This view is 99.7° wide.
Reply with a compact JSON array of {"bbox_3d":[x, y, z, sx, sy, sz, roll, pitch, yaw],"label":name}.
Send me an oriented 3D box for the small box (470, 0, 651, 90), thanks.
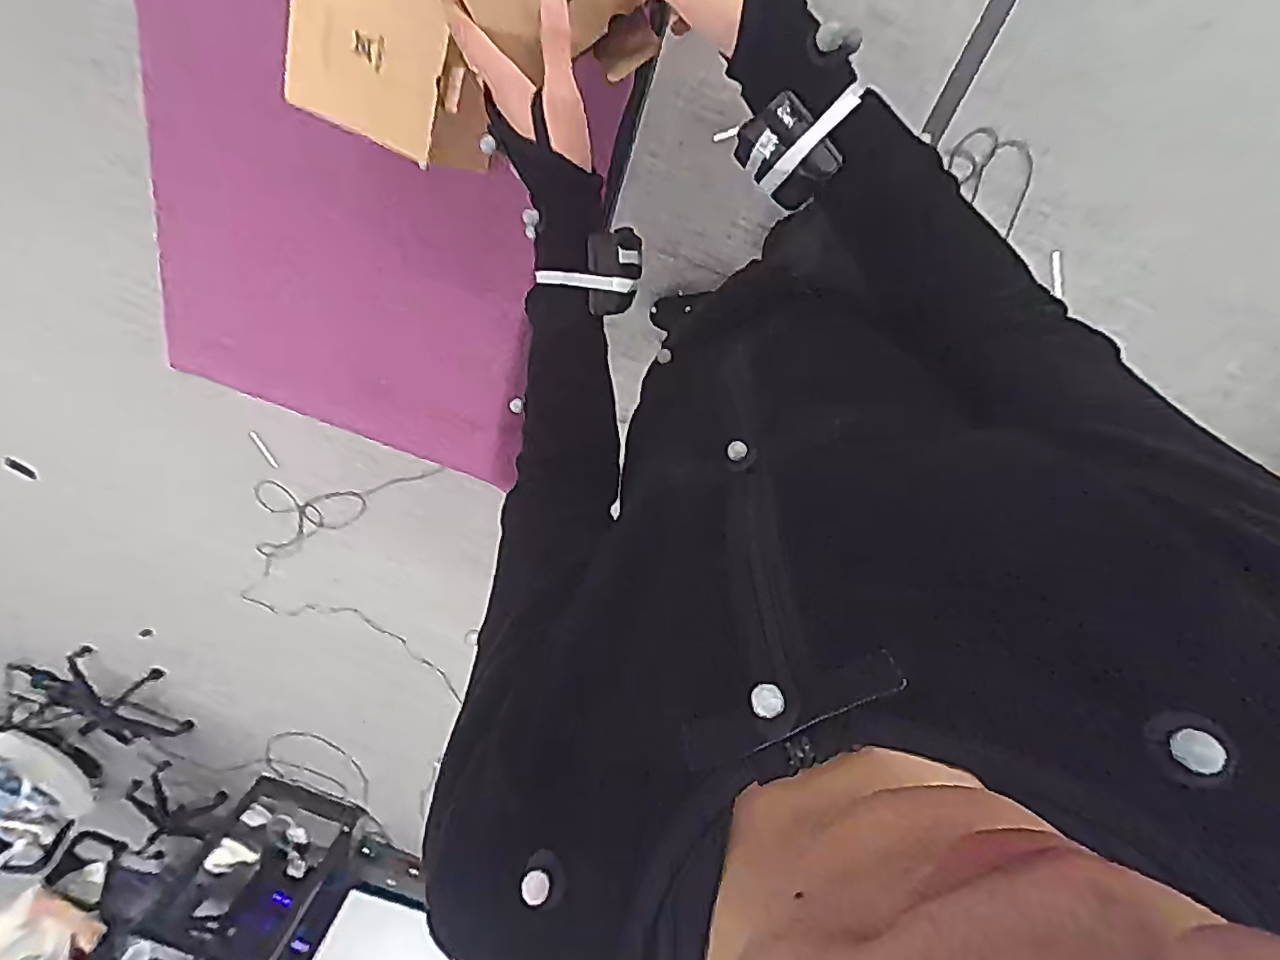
[{"bbox_3d":[-0.070,-0.418,0.374,0.168,0.176,0.179,-30,133,12],"label":"small box"}]
